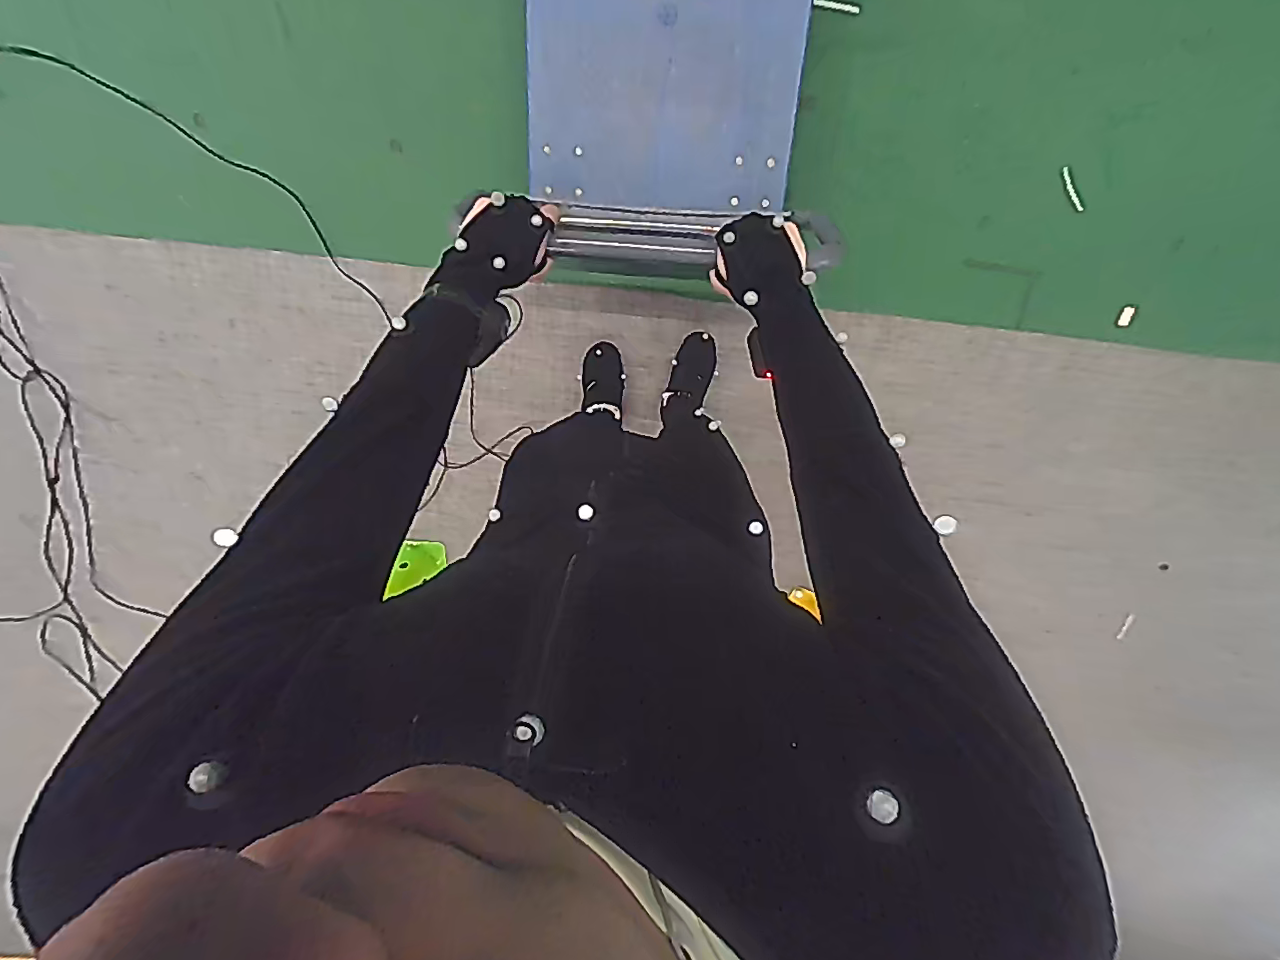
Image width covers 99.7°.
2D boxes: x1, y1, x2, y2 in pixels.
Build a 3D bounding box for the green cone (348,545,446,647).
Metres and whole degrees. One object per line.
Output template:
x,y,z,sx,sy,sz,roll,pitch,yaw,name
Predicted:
-0.767,0.375,1.652,0.202,0.368,0.200,4,112,3,green cone
